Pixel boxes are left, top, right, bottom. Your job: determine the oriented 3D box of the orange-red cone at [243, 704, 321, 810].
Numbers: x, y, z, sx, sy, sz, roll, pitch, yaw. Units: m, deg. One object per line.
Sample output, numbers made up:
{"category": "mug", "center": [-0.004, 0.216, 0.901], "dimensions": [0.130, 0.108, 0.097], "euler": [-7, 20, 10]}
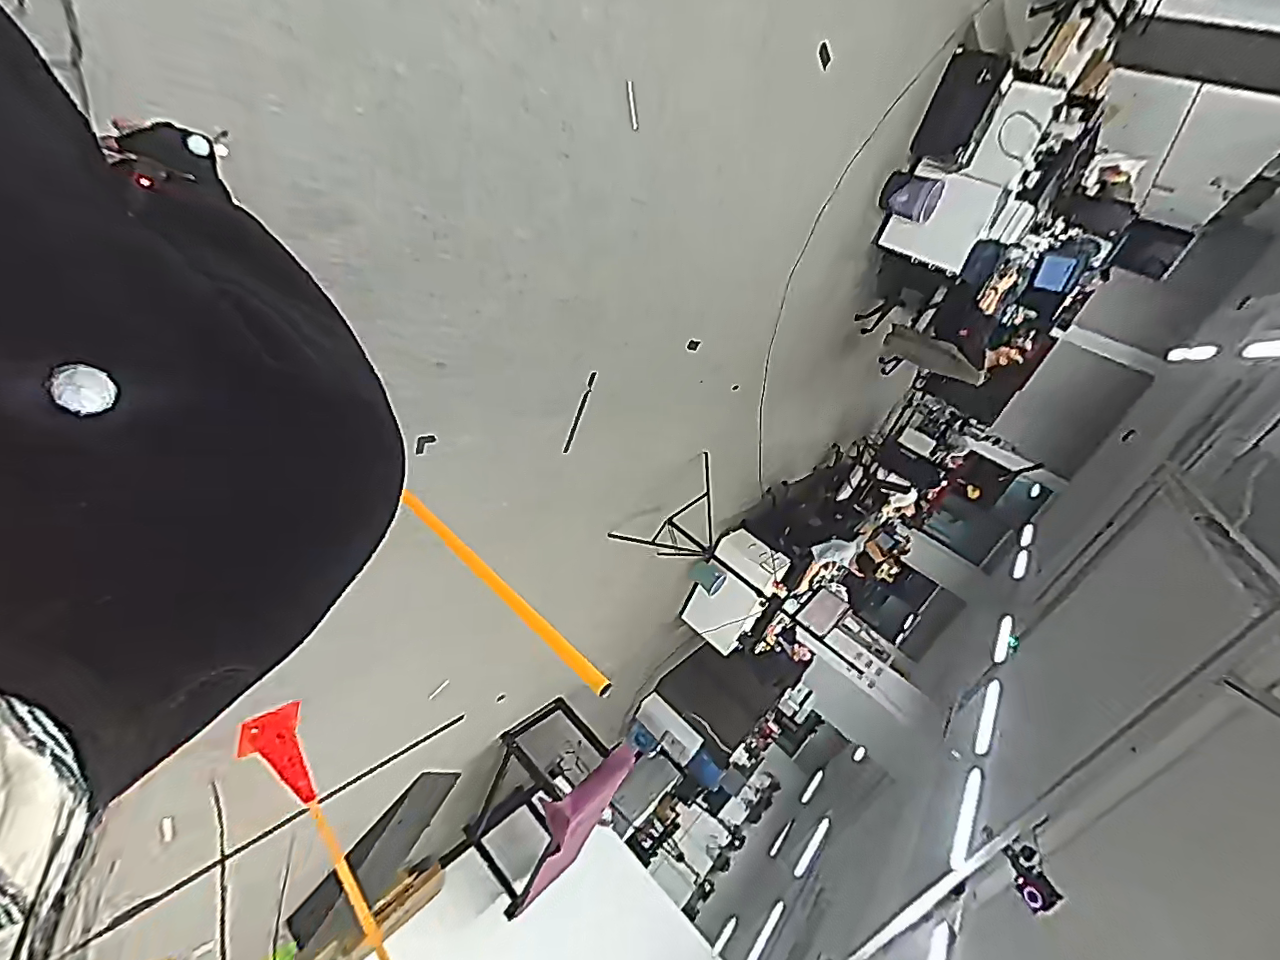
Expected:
{"category": "orange-red cone", "center": [-1.243, 1.030, 1.944], "dimensions": [0.198, 0.360, 0.199], "euler": [-11, 132, -53]}
